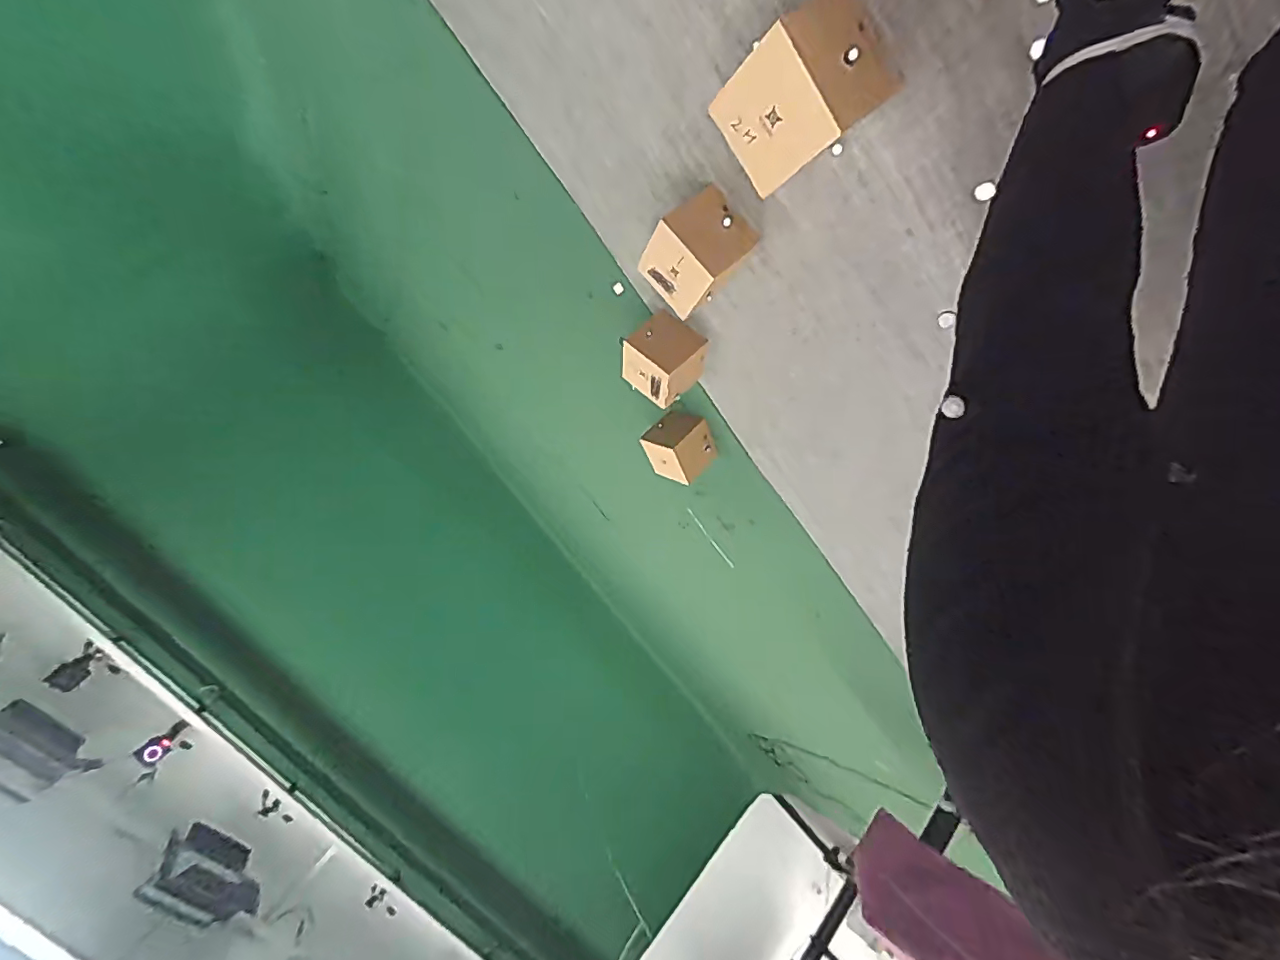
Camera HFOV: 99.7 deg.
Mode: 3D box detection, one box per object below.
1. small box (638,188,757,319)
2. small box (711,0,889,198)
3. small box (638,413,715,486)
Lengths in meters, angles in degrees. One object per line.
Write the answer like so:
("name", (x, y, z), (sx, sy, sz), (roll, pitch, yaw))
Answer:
("small box", (0.128, -0.500, 1.200), (0.168, 0.176, 0.179), (48, 157, -2))
("small box", (0.251, -0.584, 0.831), (0.168, 0.176, 0.179), (54, 157, -13))
("small box", (0.129, -0.111, 1.861), (0.179, 0.176, 0.168), (22, 148, 47))
